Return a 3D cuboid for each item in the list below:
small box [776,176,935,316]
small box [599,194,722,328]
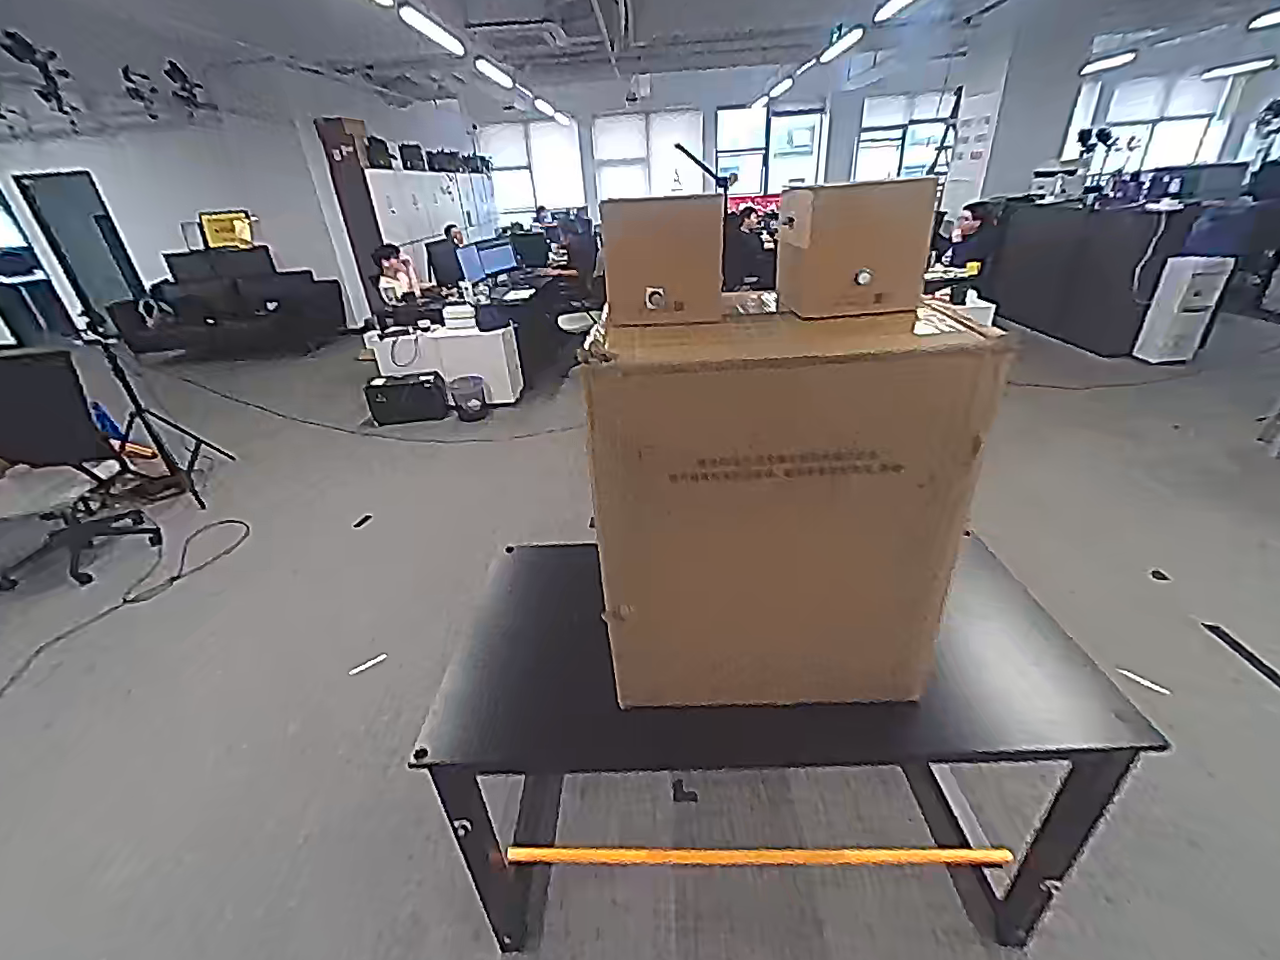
[{"bbox_3d":[0.302,-0.346,0.802,0.168,0.176,0.179,-5,28,2],"label":"small box"},{"bbox_3d":[0.031,-0.335,0.825,0.168,0.176,0.179,-4,29,1],"label":"small box"}]
